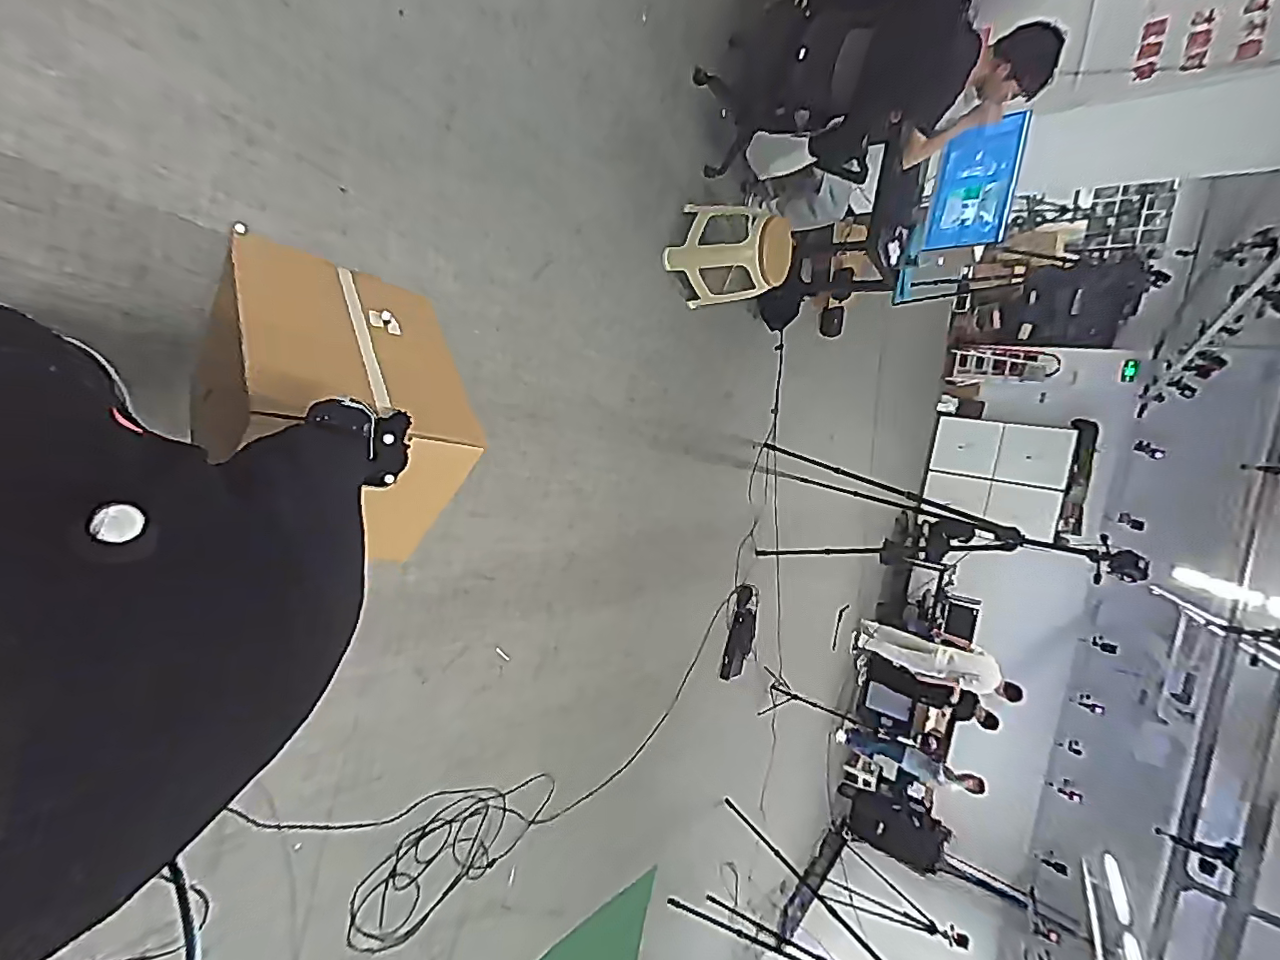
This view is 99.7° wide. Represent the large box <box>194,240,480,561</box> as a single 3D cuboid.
[{"bbox_3d":[-0.531,-0.114,0.919,0.320,0.408,0.320,8,133,-47],"label":"large box"}]
